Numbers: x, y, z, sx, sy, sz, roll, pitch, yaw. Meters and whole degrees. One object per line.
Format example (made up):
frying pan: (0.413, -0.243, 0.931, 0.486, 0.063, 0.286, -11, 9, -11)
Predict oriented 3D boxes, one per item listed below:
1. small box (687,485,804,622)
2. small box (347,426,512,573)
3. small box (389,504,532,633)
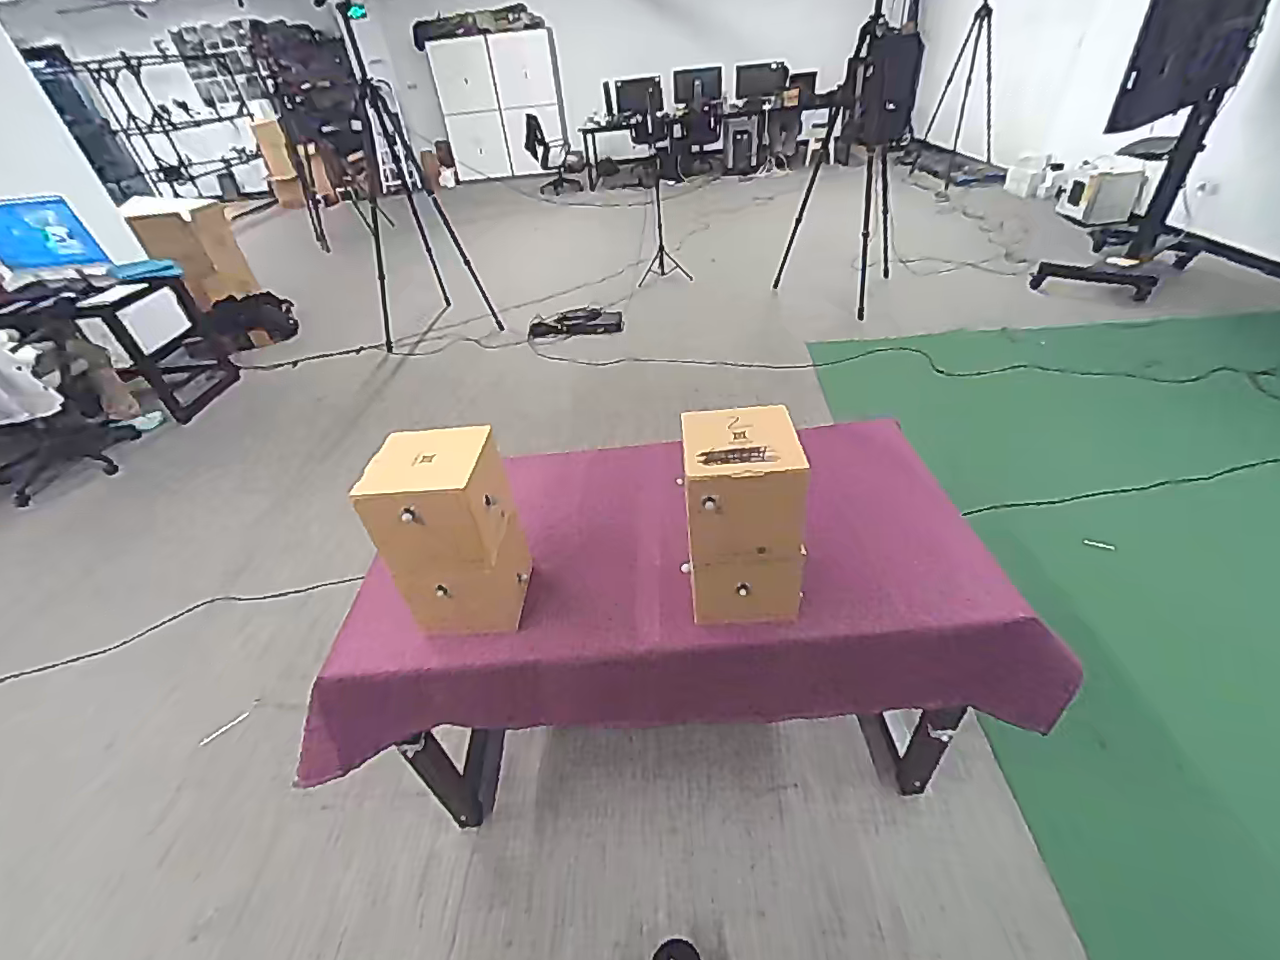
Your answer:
small box: (0.174, 0.129, 0.937, 0.179, 0.176, 0.168, -5, 38, 5)
small box: (-0.321, 0.032, 0.872, 0.179, 0.176, 0.168, -5, 38, 5)
small box: (-0.310, 0.160, 0.974, 0.179, 0.176, 0.168, -3, 39, 4)
